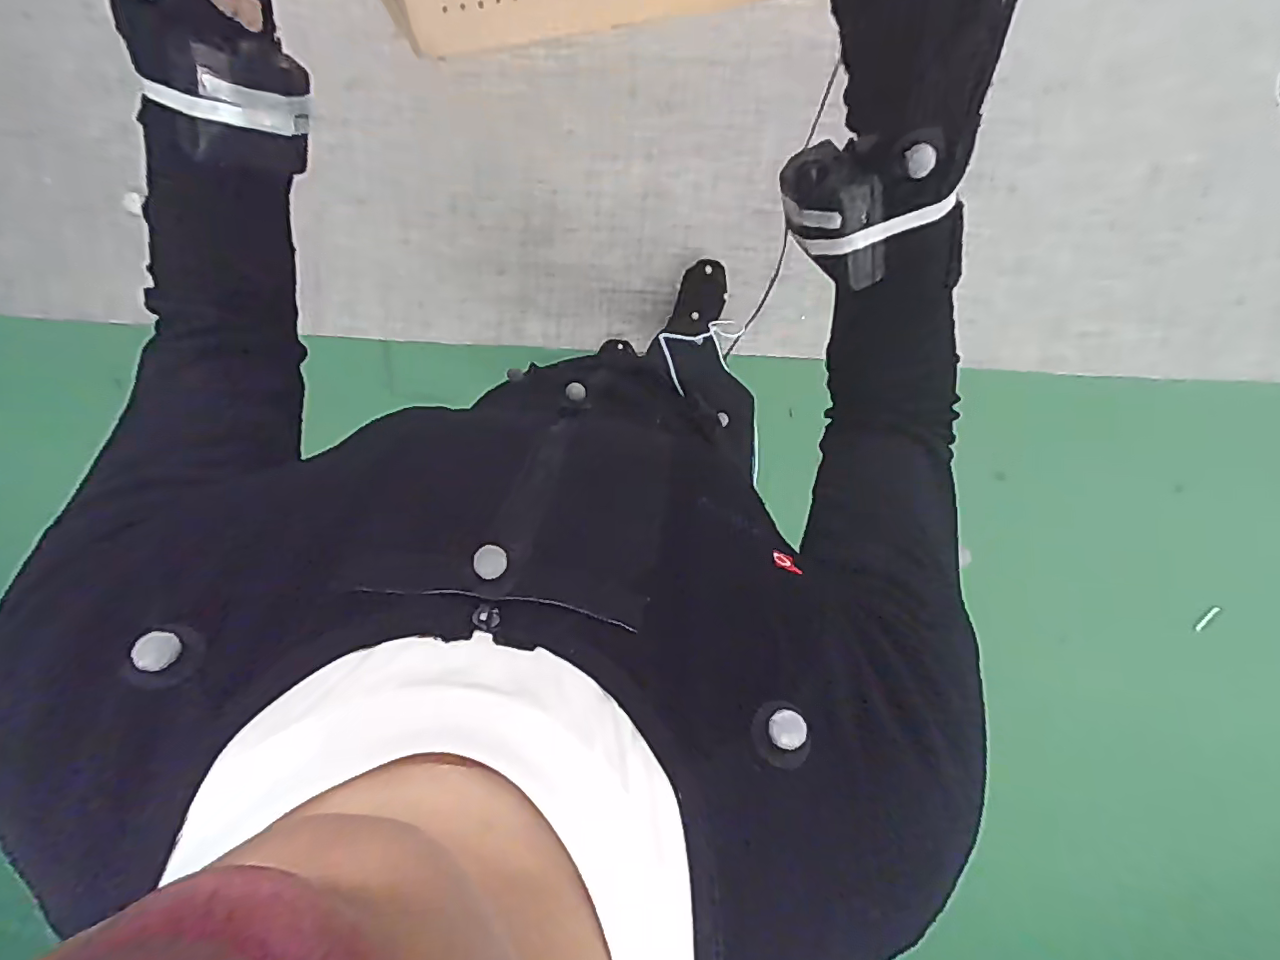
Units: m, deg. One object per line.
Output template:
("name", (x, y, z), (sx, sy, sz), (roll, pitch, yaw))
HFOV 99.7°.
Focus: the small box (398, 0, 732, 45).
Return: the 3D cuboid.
("small box", (-0.031, -0.292, 0.189), (0.179, 0.176, 0.168), (-22, 60, -14))
